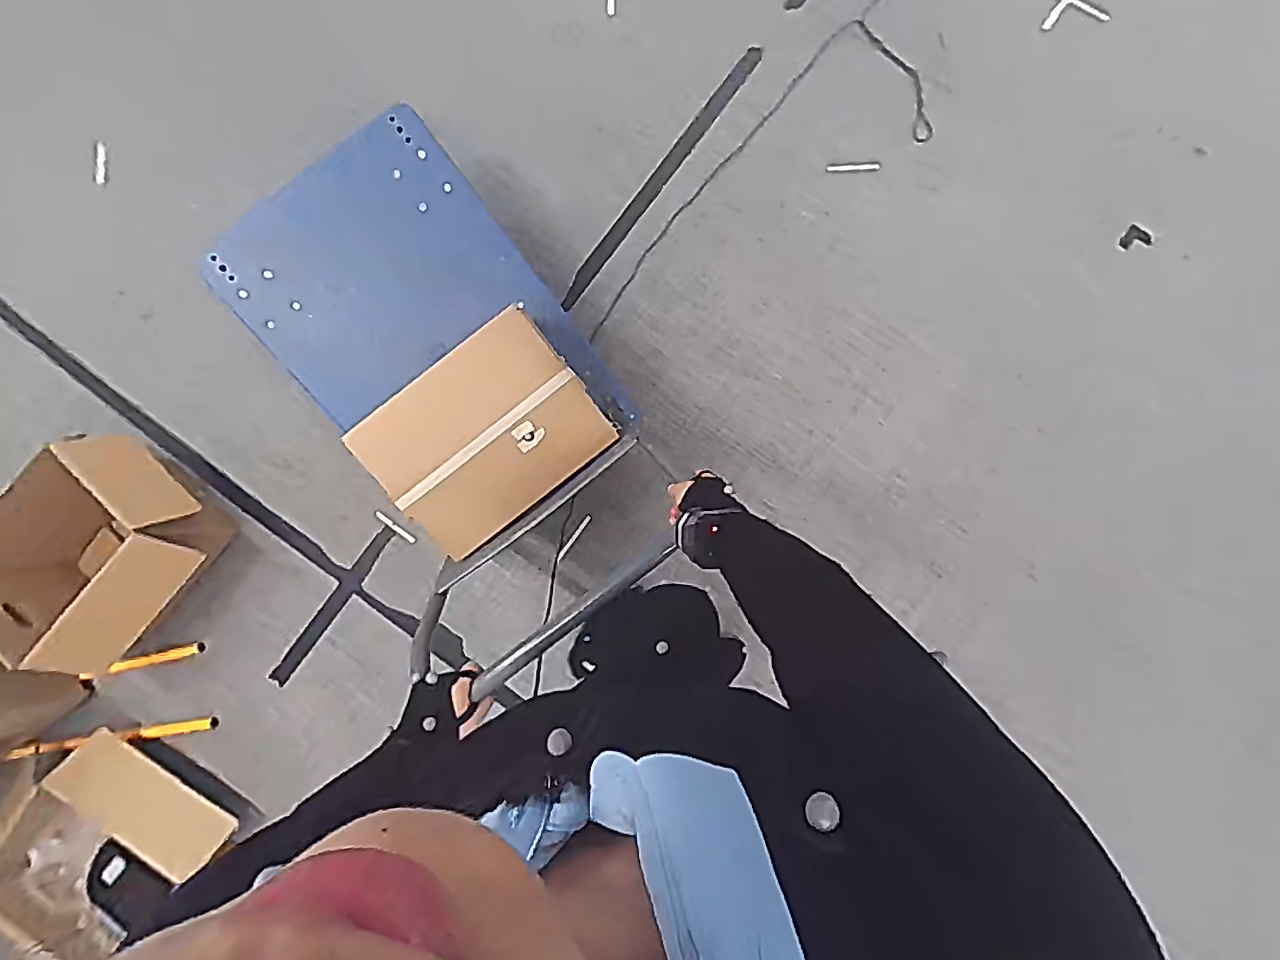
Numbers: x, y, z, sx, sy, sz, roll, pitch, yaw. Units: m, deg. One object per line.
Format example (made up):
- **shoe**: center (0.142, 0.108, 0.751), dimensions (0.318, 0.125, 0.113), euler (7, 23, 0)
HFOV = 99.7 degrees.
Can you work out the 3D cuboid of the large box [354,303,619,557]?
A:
- **large box**: center (-0.306, -0.112, 1.164), dimensions (0.408, 0.320, 0.320), euler (-39, 105, 0)
